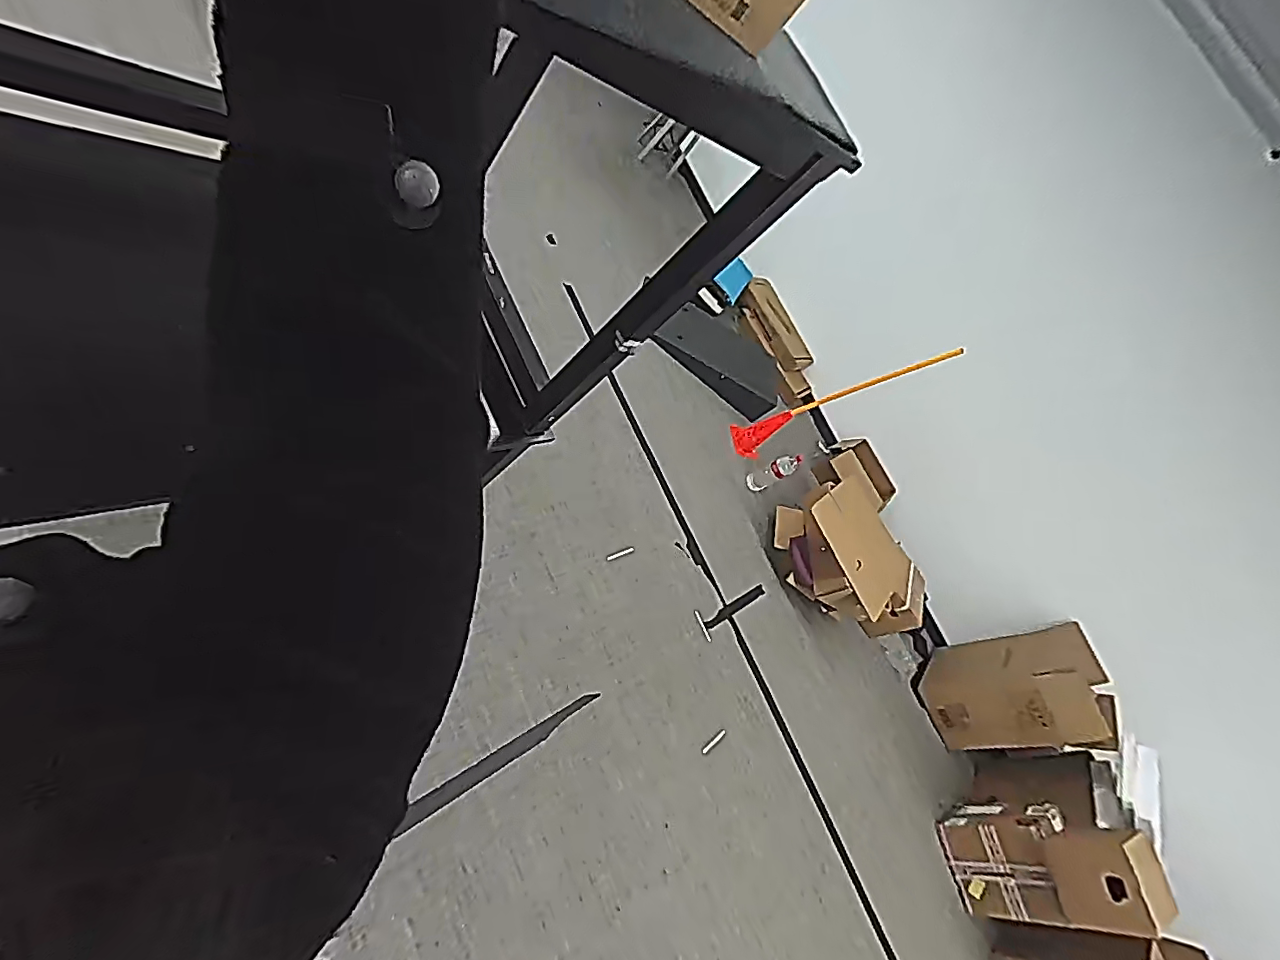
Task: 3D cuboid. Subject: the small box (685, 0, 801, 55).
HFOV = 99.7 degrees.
[{"bbox_3d":[0.072,-0.501,0.423,0.168,0.176,0.179,-14,75,-47],"label":"small box"}]
